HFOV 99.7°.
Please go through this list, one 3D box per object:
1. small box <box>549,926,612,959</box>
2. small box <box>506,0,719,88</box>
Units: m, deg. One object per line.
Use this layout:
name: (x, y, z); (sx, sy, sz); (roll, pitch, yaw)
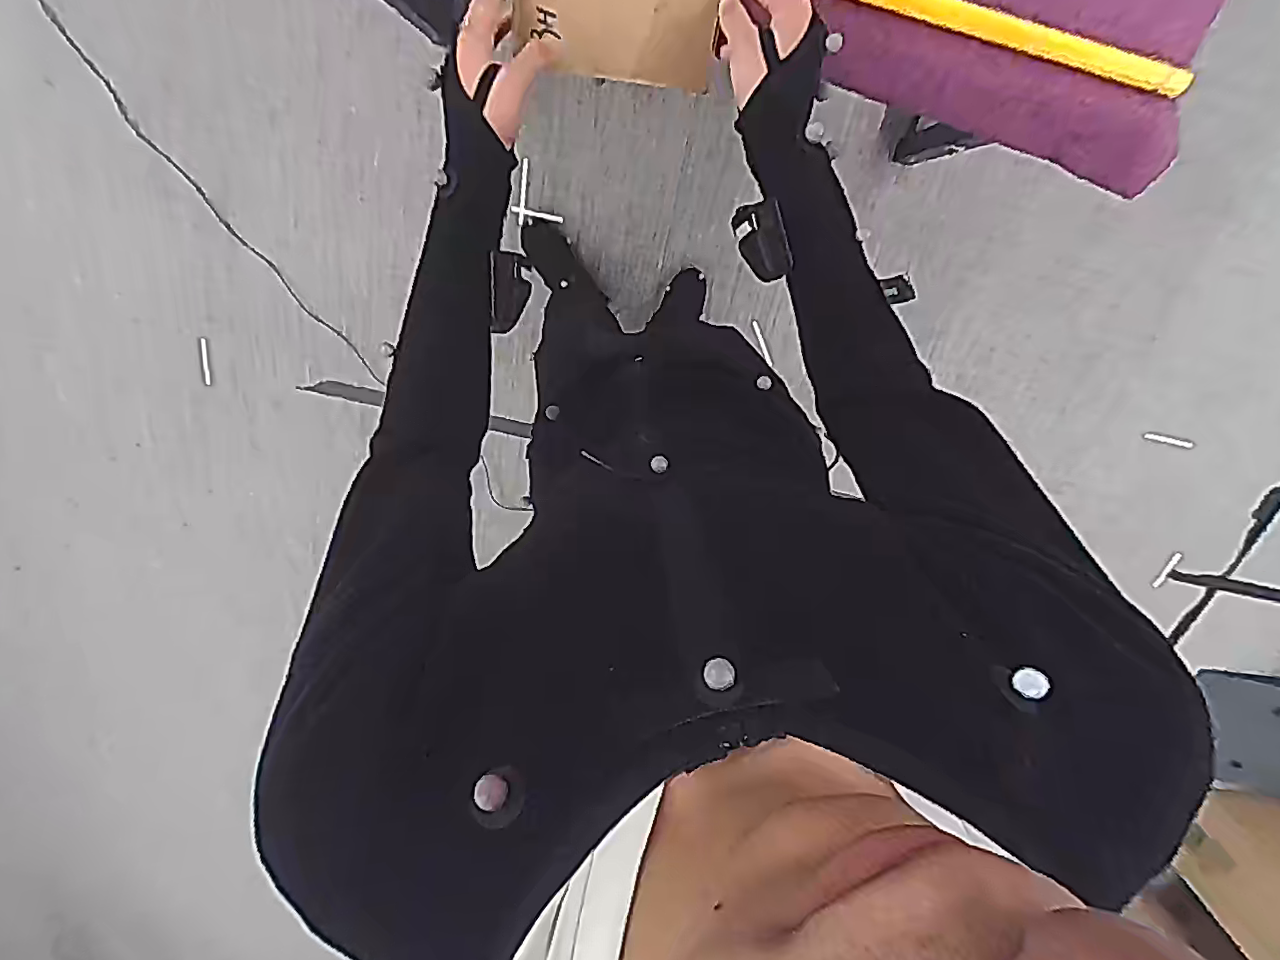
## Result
small box: (-0.197, 1.569, 1.720); (0.168, 0.176, 0.179); (27, 114, -10)
small box: (-0.028, -0.472, 0.478); (0.179, 0.176, 0.168); (1, 132, -13)
